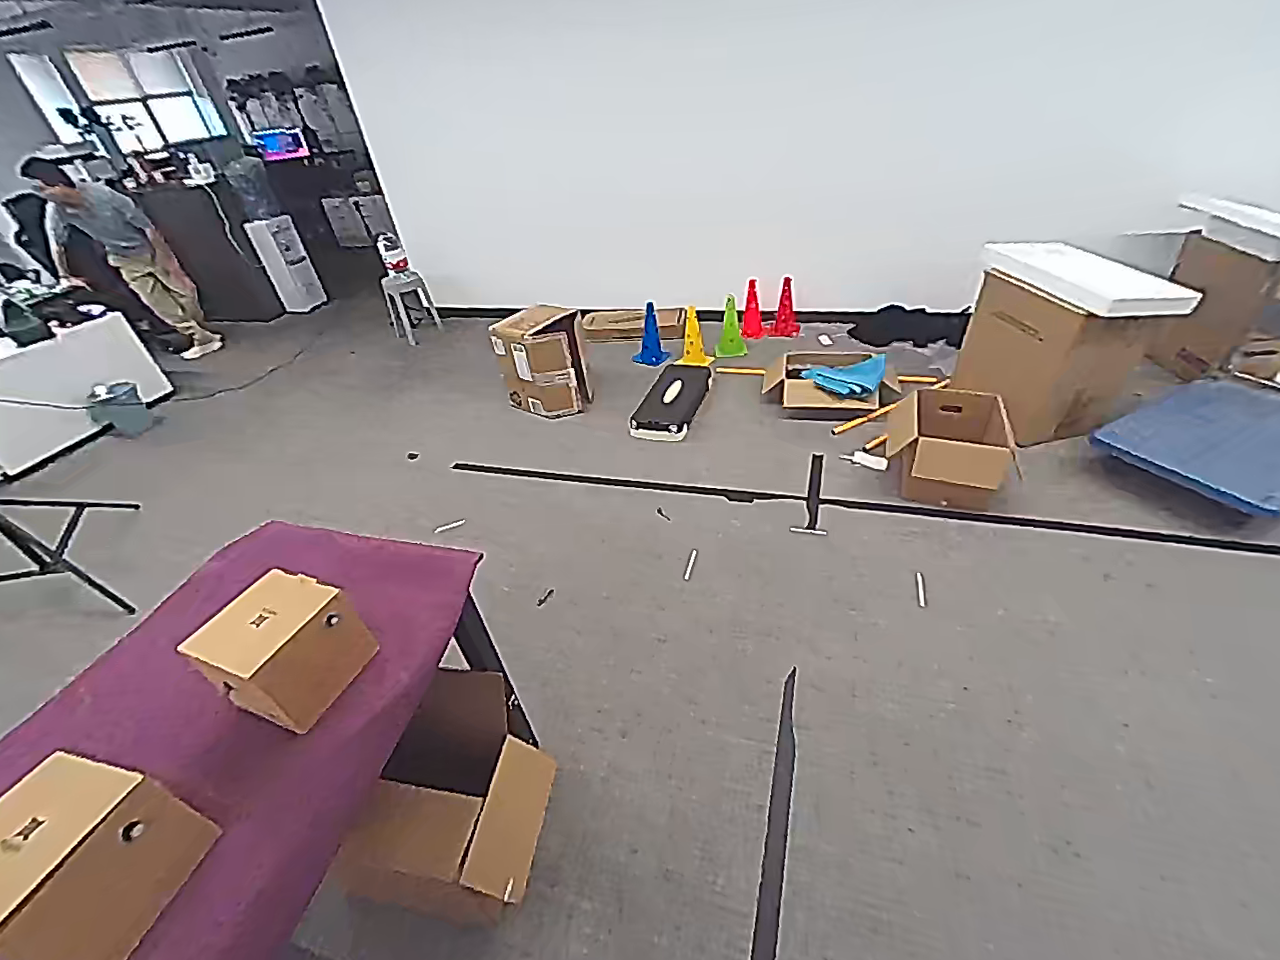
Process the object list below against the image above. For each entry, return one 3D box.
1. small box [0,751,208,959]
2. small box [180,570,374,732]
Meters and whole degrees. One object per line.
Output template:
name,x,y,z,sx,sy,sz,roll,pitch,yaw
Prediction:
small box,-0.685,0.472,0.661,0.168,0.176,0.179,3,38,16
small box,-0.582,0.281,0.895,0.168,0.176,0.179,9,40,21
